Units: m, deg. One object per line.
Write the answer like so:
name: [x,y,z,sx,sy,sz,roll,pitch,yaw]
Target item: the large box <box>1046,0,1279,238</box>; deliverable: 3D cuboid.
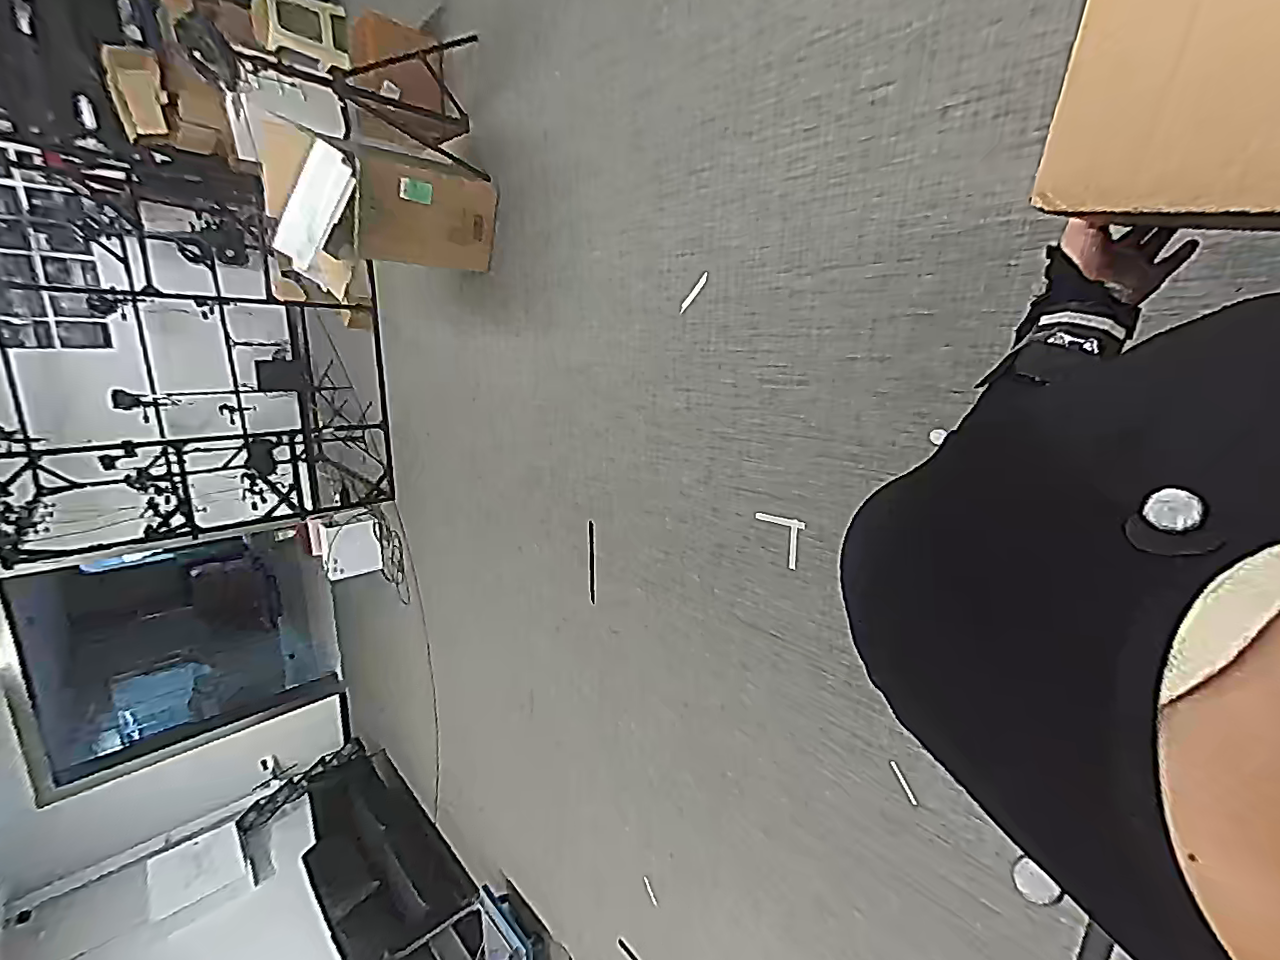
large box: [0.486,-0.275,0.228,0.408,0.320,0.320,25,124,41]
